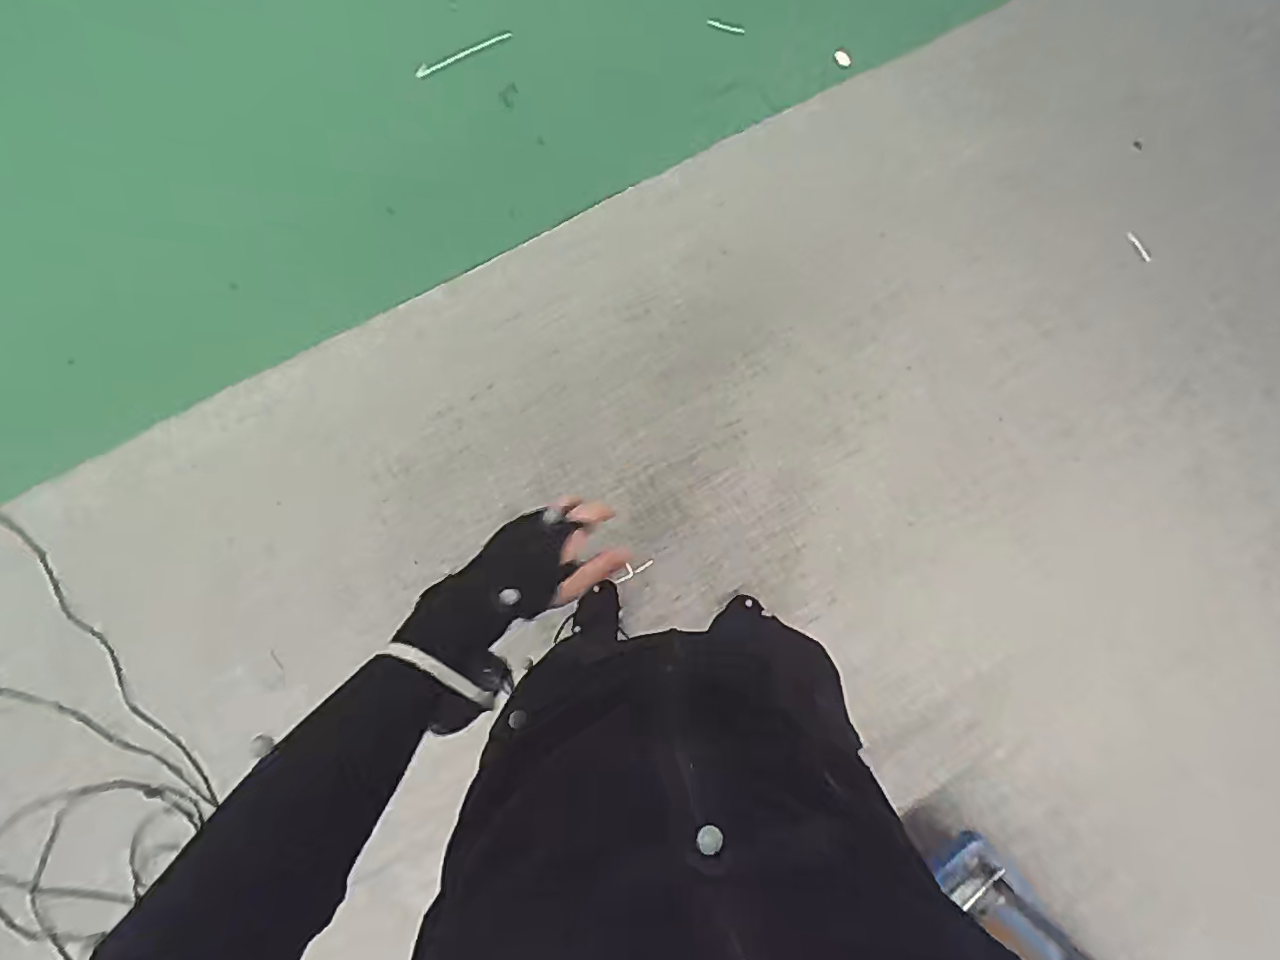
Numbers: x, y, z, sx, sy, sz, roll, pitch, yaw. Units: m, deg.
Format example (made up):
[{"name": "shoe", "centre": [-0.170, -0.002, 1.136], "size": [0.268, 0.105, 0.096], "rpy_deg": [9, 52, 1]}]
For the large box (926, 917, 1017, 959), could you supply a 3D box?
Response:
[{"name": "large box", "centre": [0.718, 1.149, 0.976], "size": [0.320, 0.320, 0.408], "rpy_deg": [-37, 84, -6]}]
